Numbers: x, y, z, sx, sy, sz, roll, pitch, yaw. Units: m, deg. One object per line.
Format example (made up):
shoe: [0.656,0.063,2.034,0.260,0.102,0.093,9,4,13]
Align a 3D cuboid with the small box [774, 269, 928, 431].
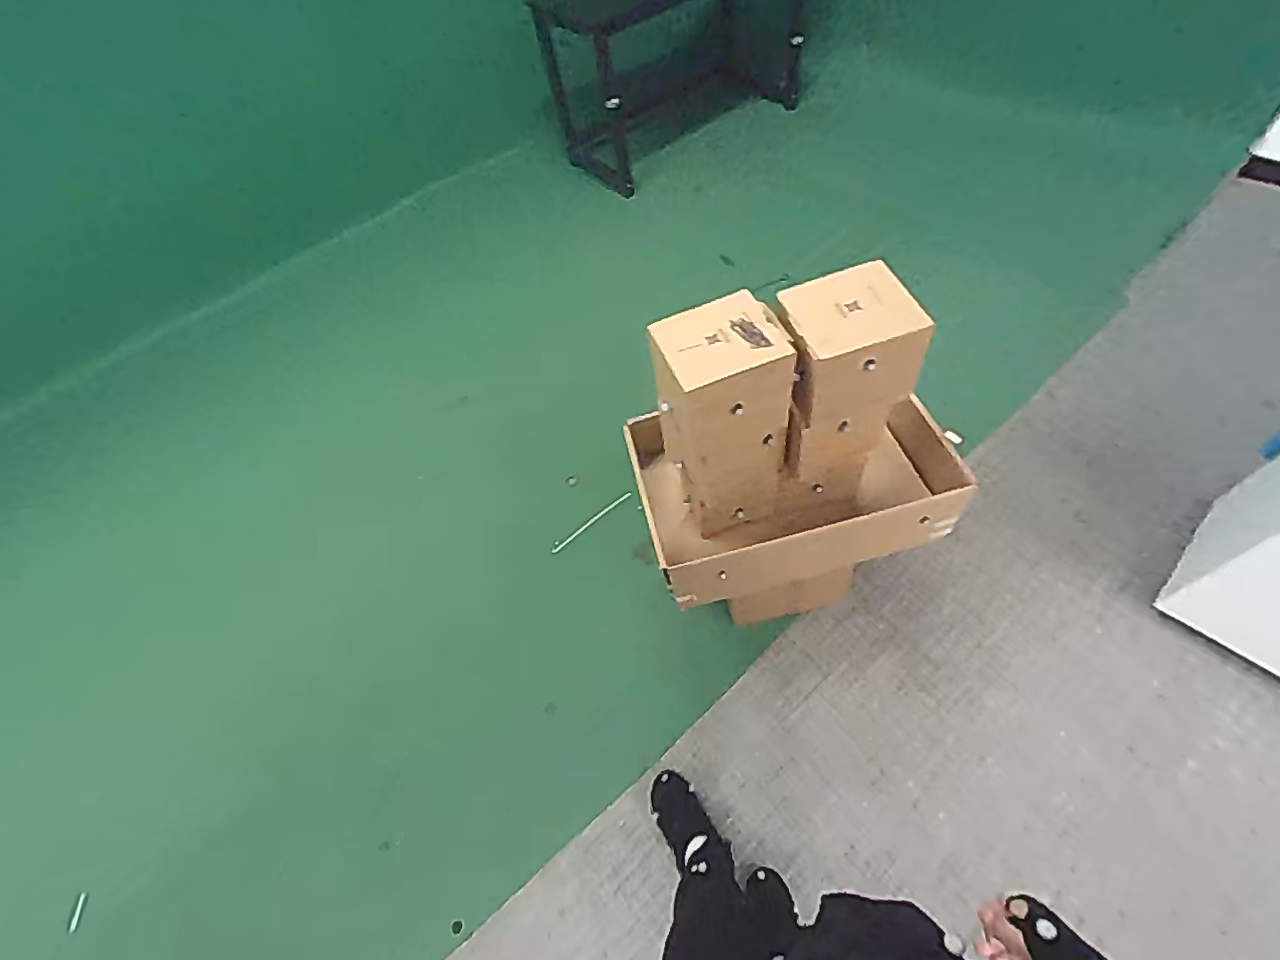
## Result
small box: [0.332,-0.205,0.886,0.179,0.176,0.168,-17,55,2]

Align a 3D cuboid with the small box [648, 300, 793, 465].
small box: [0.129,-0.156,0.887,0.179,0.176,0.168,-21,53,-3]
